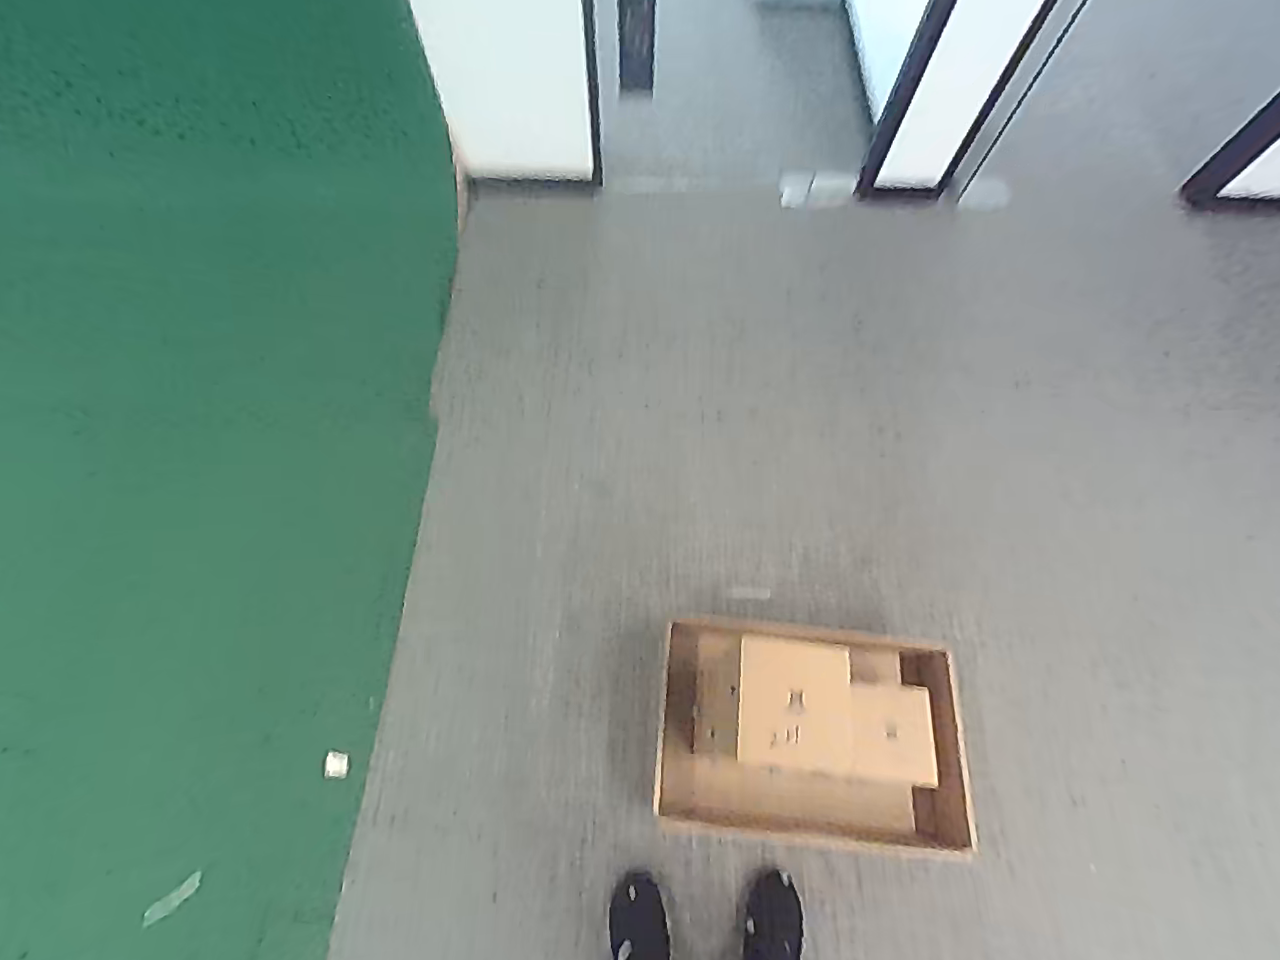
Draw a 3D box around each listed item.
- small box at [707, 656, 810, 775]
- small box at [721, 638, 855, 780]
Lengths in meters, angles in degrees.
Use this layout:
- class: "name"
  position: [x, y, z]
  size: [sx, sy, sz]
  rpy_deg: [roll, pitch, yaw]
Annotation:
- class: "small box"
  position: [0.218, 0.436, 1.003]
  size: [0.168, 0.176, 0.179]
  rpy_deg: [6, 65, 2]
- class: "small box"
  position: [0.225, 0.362, 0.856]
  size: [0.168, 0.176, 0.179]
  rpy_deg: [6, 65, 2]
